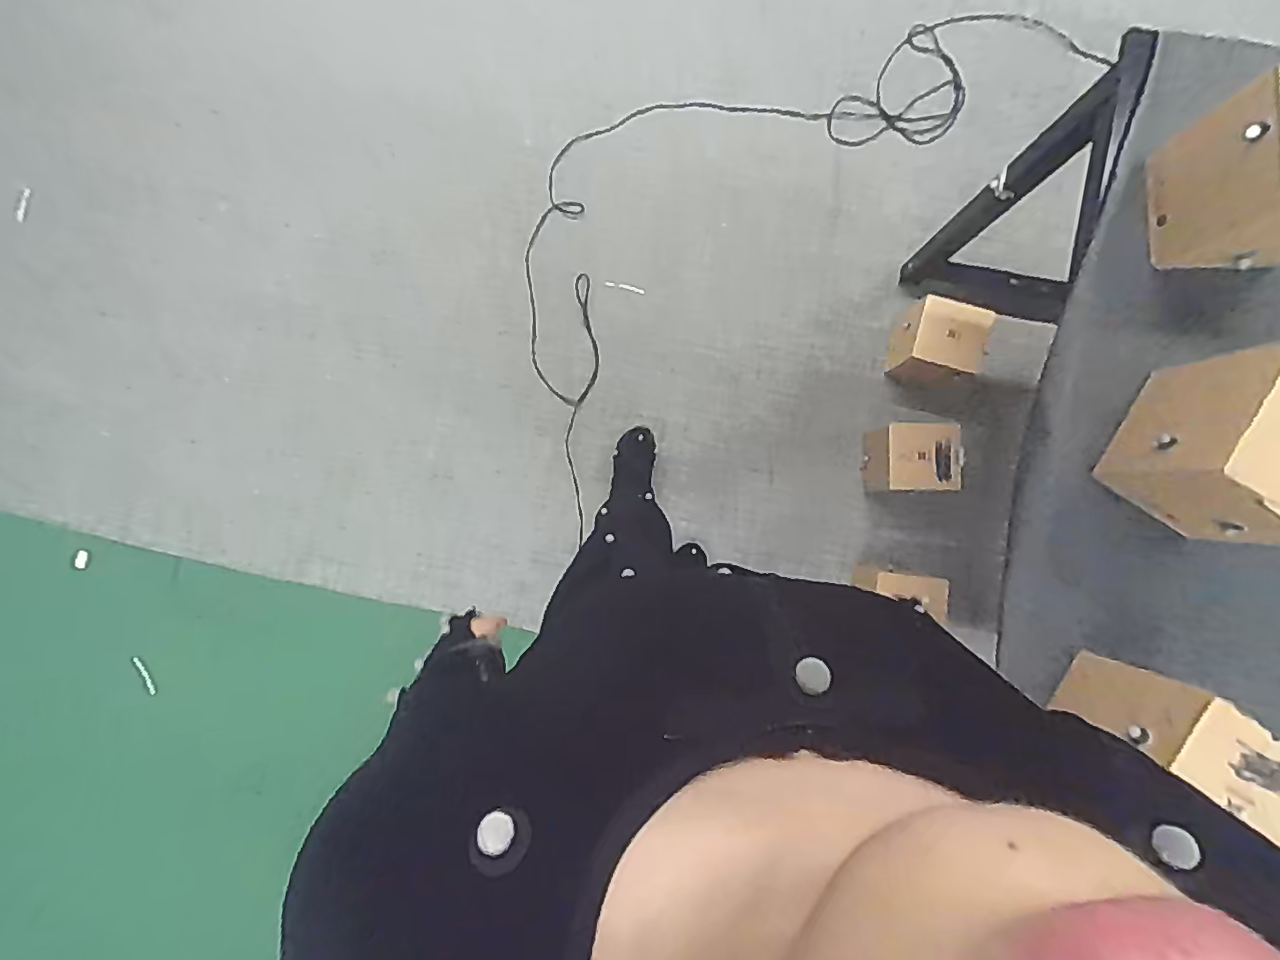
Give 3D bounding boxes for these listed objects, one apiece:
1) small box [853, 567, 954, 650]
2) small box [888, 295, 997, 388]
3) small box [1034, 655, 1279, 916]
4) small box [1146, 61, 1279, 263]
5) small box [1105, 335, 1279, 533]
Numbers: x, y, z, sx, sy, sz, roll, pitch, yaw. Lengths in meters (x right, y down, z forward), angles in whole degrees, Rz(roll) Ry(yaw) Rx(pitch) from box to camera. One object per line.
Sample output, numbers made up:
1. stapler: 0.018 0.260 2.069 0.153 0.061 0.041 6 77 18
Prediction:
1. small box: 0.659 0.317 1.371 0.179 0.176 0.168 7 88 2
2. small box: 0.776 -0.351 1.405 0.179 0.176 0.168 15 87 2
3. small box: 0.623 0.336 0.638 0.168 0.176 0.179 33 87 0
4. small box: 0.795 -0.386 0.674 0.179 0.176 0.168 -1 87 2
5. small box: 0.732 -0.044 0.660 0.168 0.176 0.179 31 87 0
